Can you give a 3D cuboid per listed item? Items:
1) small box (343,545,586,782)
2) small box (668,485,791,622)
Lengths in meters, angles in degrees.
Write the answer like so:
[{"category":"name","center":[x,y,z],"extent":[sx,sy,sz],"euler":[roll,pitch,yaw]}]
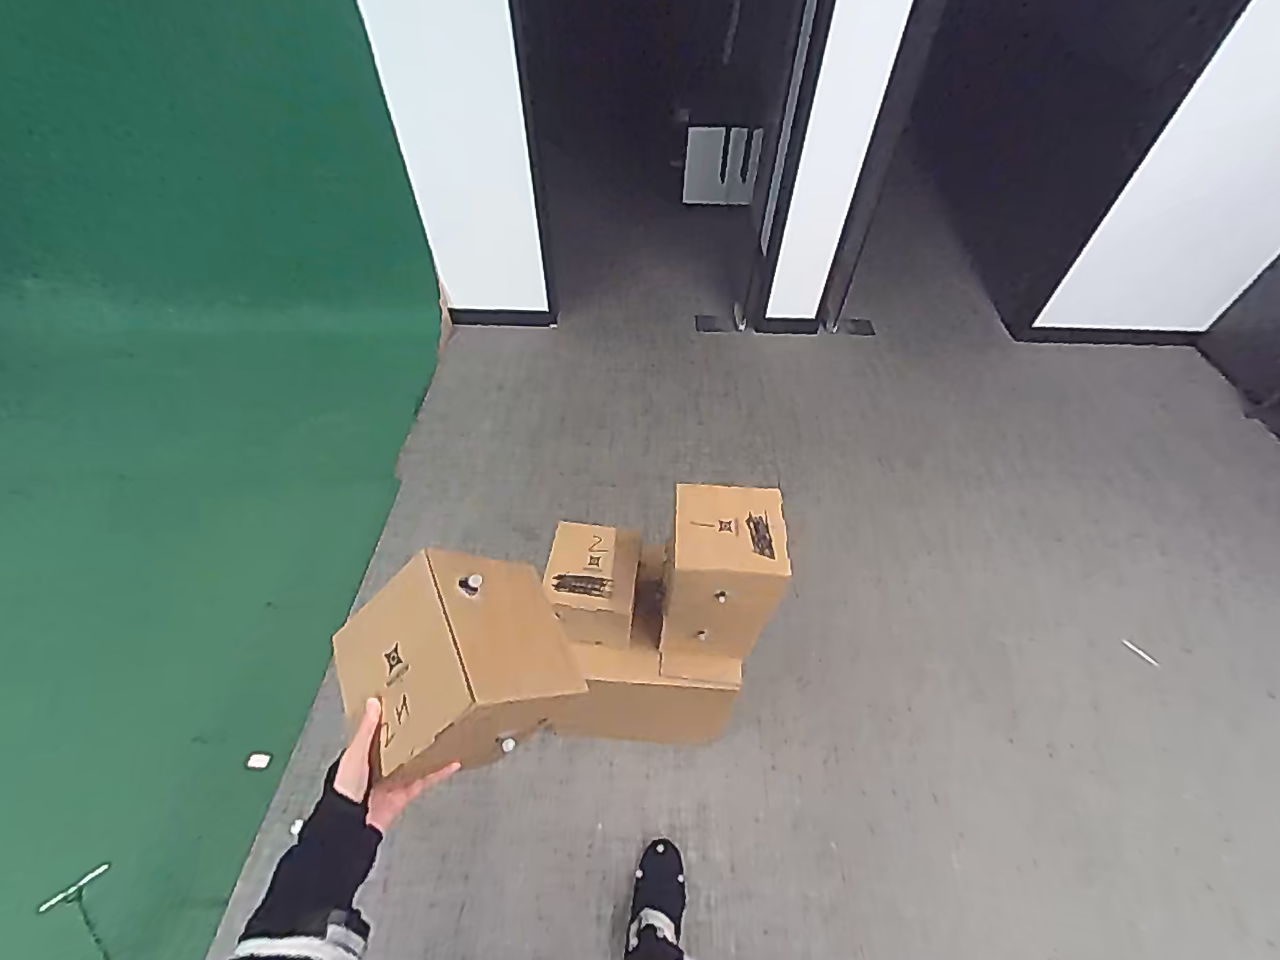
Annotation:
[{"category":"small box","center":[-0.193,0.200,0.605],"extent":[0.168,0.176,0.179],"euler":[-41,58,16]},{"category":"small box","center":[0.143,0.128,0.910],"extent":[0.179,0.176,0.168],"euler":[4,52,3]}]
